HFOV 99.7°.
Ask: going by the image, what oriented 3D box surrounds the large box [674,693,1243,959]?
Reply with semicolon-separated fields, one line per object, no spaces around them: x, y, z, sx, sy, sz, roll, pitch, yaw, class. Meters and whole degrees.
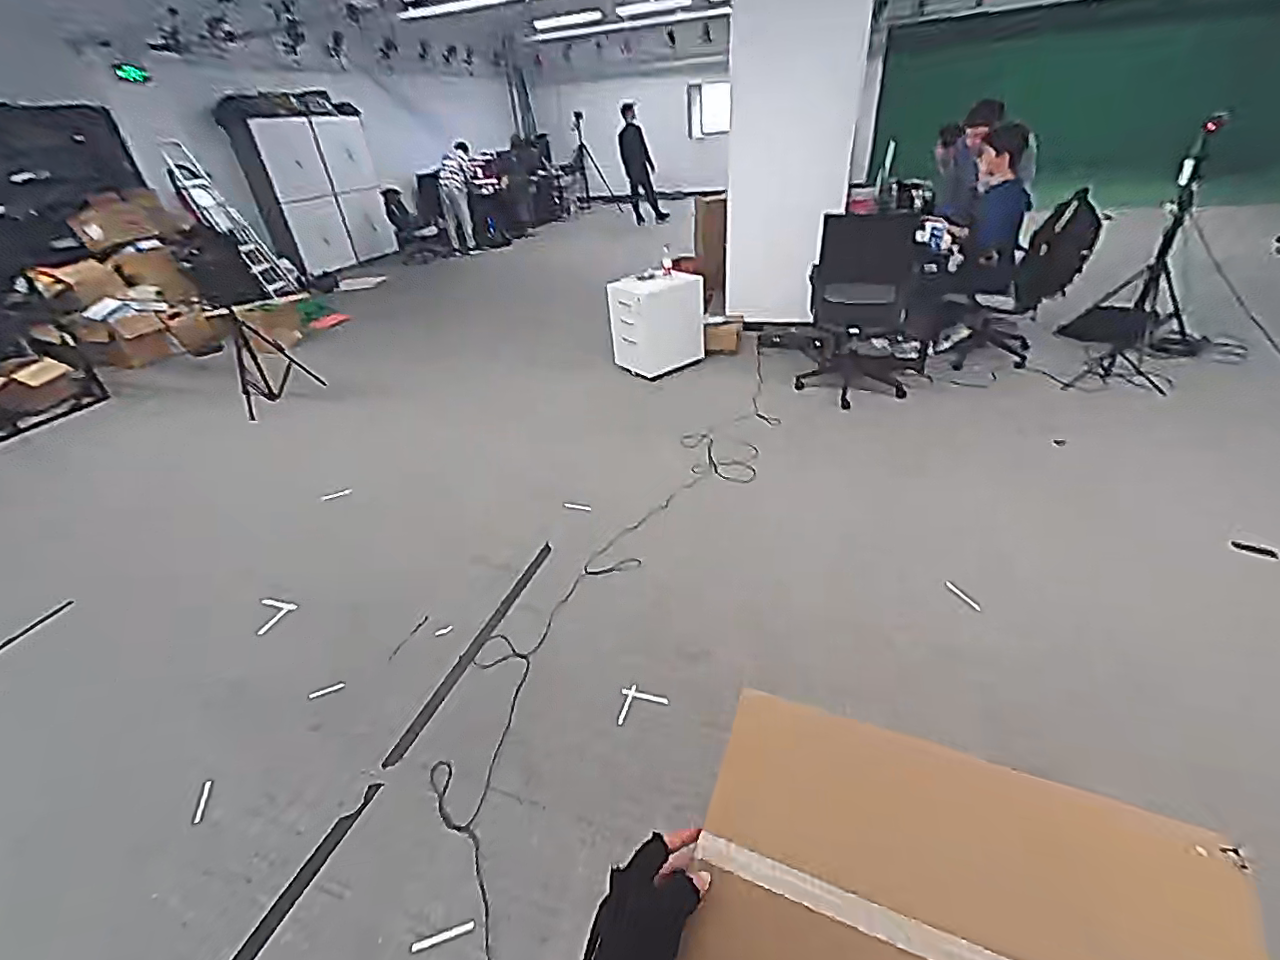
0.259;0.475;0.532;0.408;0.320;0.320;11;47;21;large box
